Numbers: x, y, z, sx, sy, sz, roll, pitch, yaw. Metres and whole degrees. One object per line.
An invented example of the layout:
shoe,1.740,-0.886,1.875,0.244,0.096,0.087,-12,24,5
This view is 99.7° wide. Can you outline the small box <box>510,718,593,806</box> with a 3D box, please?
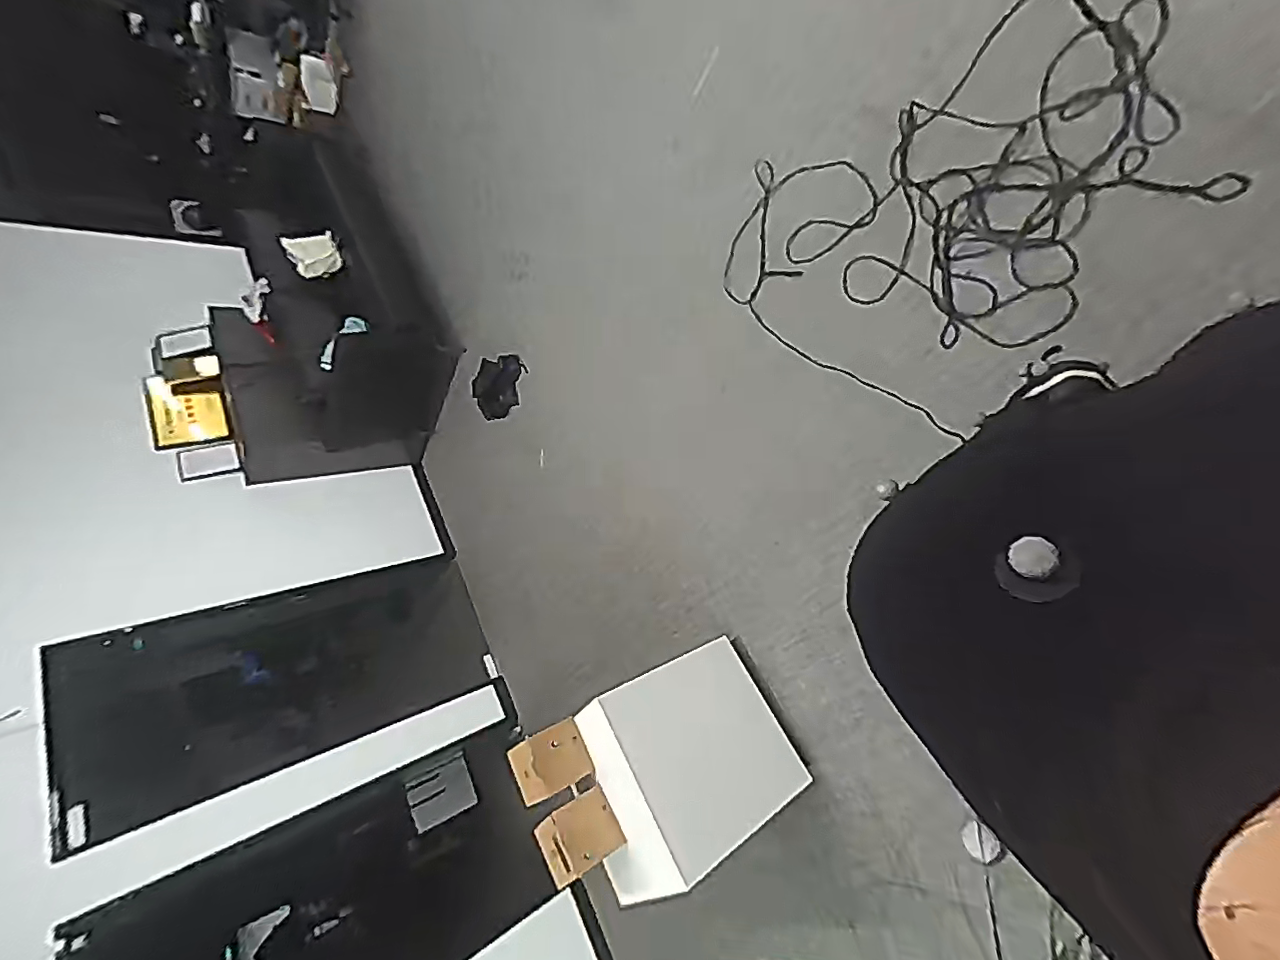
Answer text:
small box,-0.259,0.839,1.615,0.179,0.176,0.168,-50,60,44
